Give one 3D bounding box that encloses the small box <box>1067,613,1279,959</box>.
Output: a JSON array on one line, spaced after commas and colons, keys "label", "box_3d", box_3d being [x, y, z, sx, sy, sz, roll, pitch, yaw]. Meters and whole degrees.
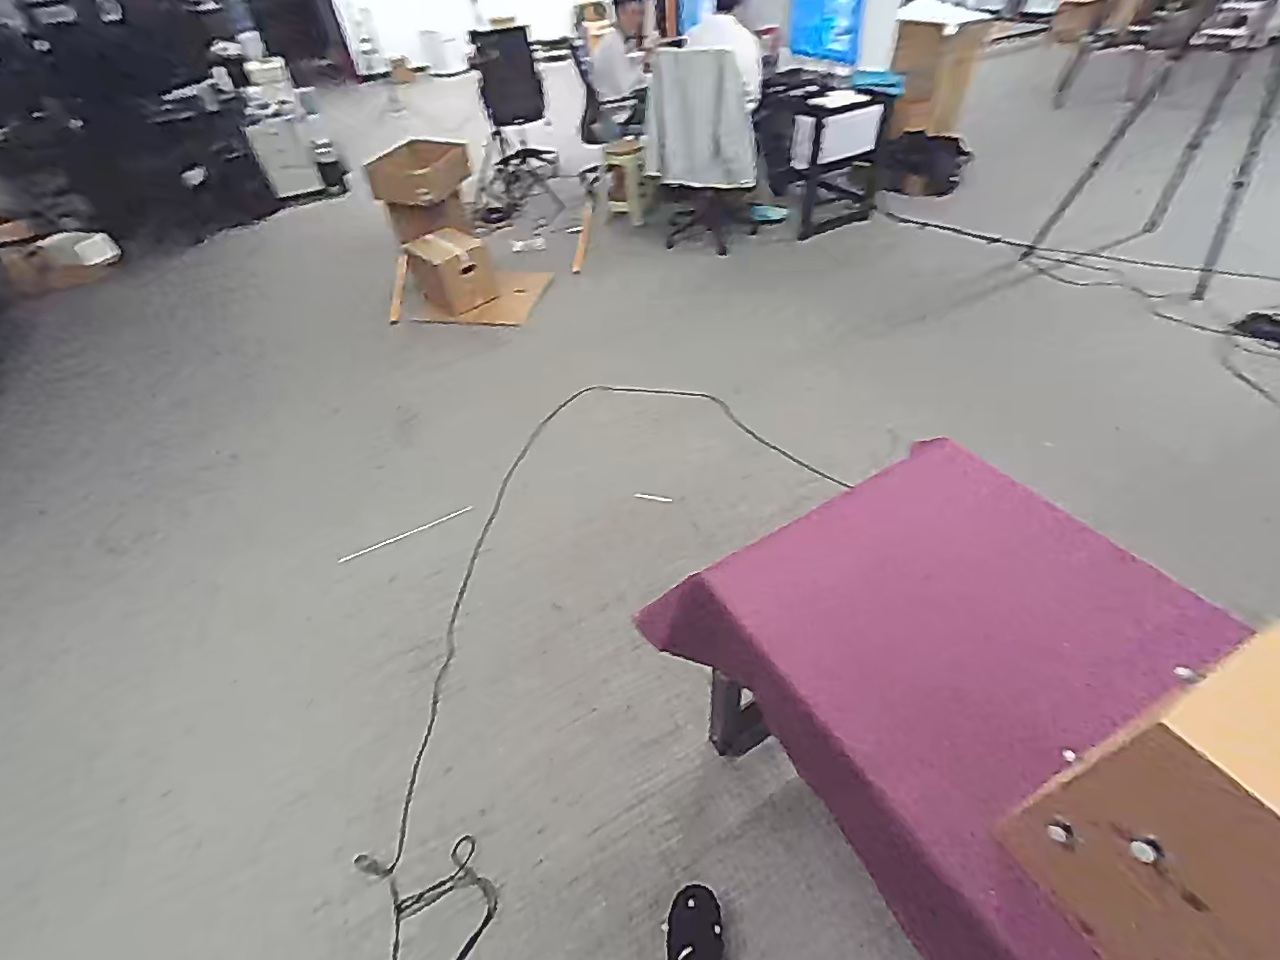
[{"label": "small box", "box_3d": [0.502, 0.246, 0.433, 0.179, 0.176, 0.168, -23, 46, -16]}]
